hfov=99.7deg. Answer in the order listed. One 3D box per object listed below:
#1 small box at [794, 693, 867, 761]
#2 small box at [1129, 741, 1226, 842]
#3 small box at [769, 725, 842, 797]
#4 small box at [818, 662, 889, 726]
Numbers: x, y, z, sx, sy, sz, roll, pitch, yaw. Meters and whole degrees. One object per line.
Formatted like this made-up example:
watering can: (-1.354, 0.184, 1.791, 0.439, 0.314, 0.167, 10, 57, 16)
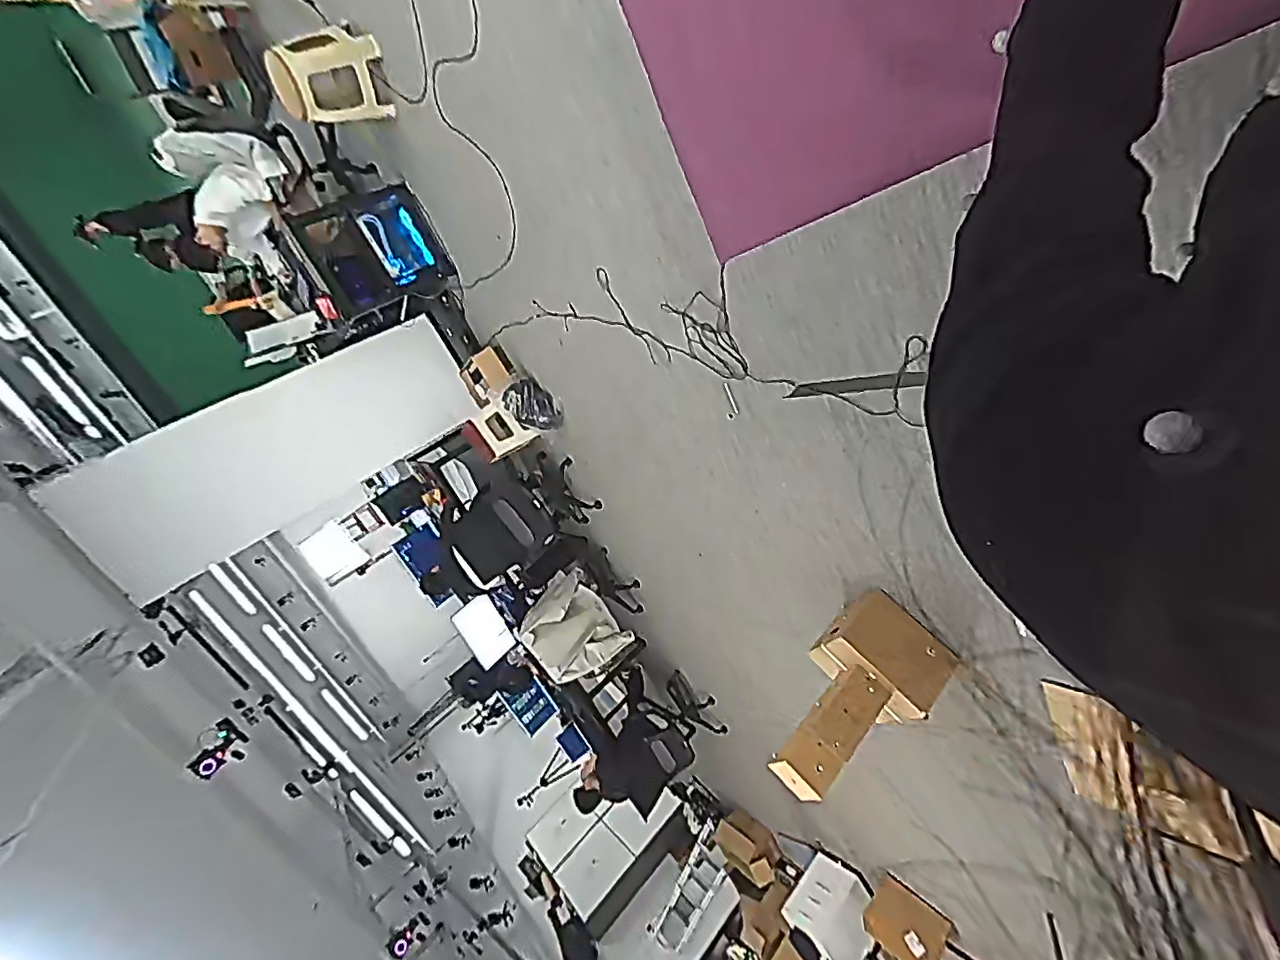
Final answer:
small box: (0.727, 0.941, 2.056, 0.168, 0.176, 0.179, 44, 152, 16)
small box: (1.648, 0.944, 1.653, 0.168, 0.176, 0.179, -13, 112, 58)
small box: (0.610, 1.026, 1.980, 0.168, 0.176, 0.179, 43, 152, 16)
small box: (0.844, 0.850, 2.128, 0.168, 0.176, 0.179, 44, 151, 16)
